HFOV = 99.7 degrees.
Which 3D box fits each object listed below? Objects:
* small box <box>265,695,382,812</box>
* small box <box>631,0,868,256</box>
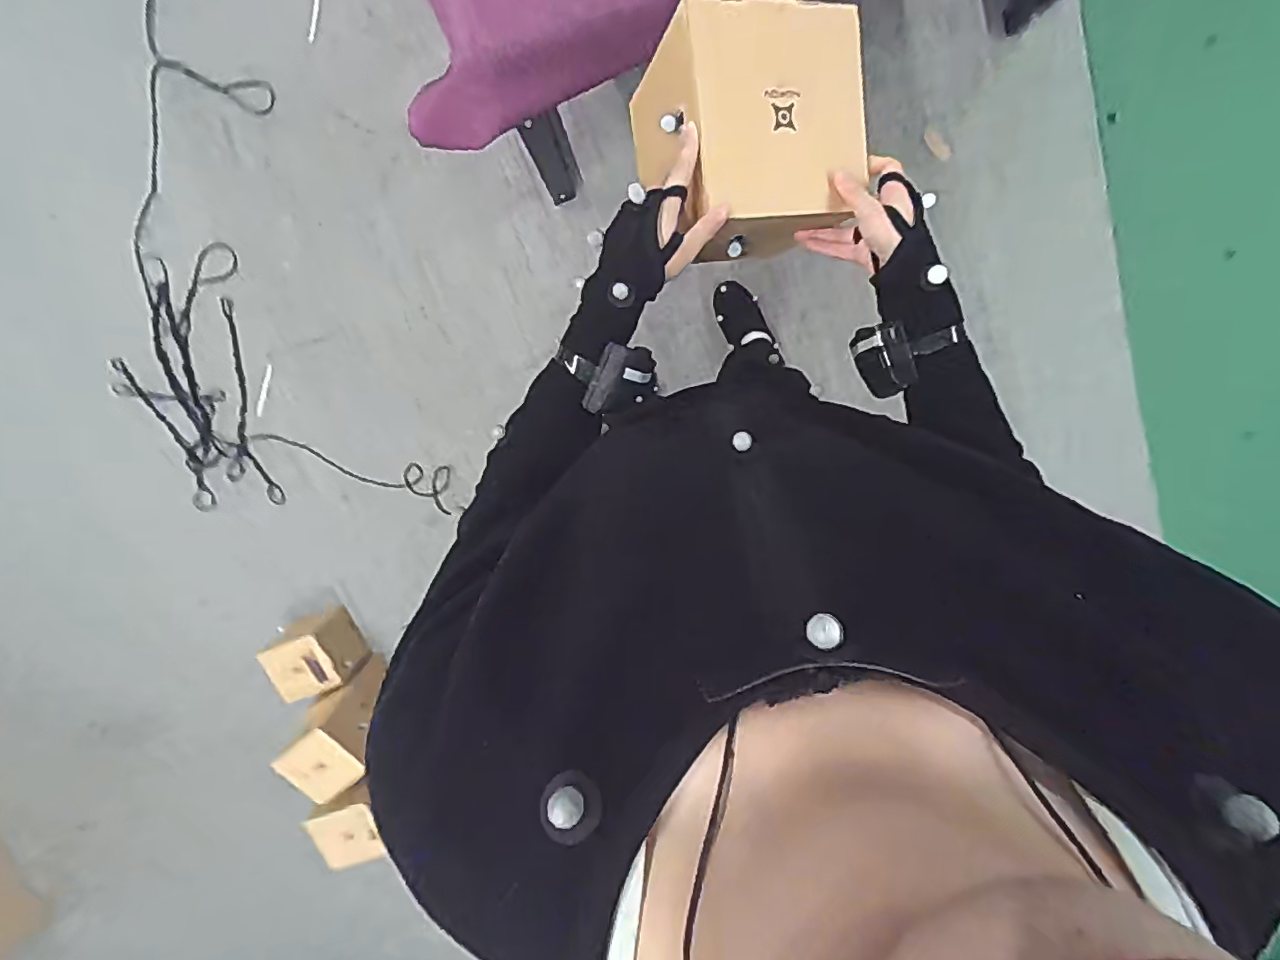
[{"bbox_3d":[-0.802,0.697,1.399,0.179,0.176,0.168,-37,102,8],"label":"small box"},{"bbox_3d":[0.098,-0.334,0.538,0.168,0.176,0.179,-11,99,-14],"label":"small box"}]
